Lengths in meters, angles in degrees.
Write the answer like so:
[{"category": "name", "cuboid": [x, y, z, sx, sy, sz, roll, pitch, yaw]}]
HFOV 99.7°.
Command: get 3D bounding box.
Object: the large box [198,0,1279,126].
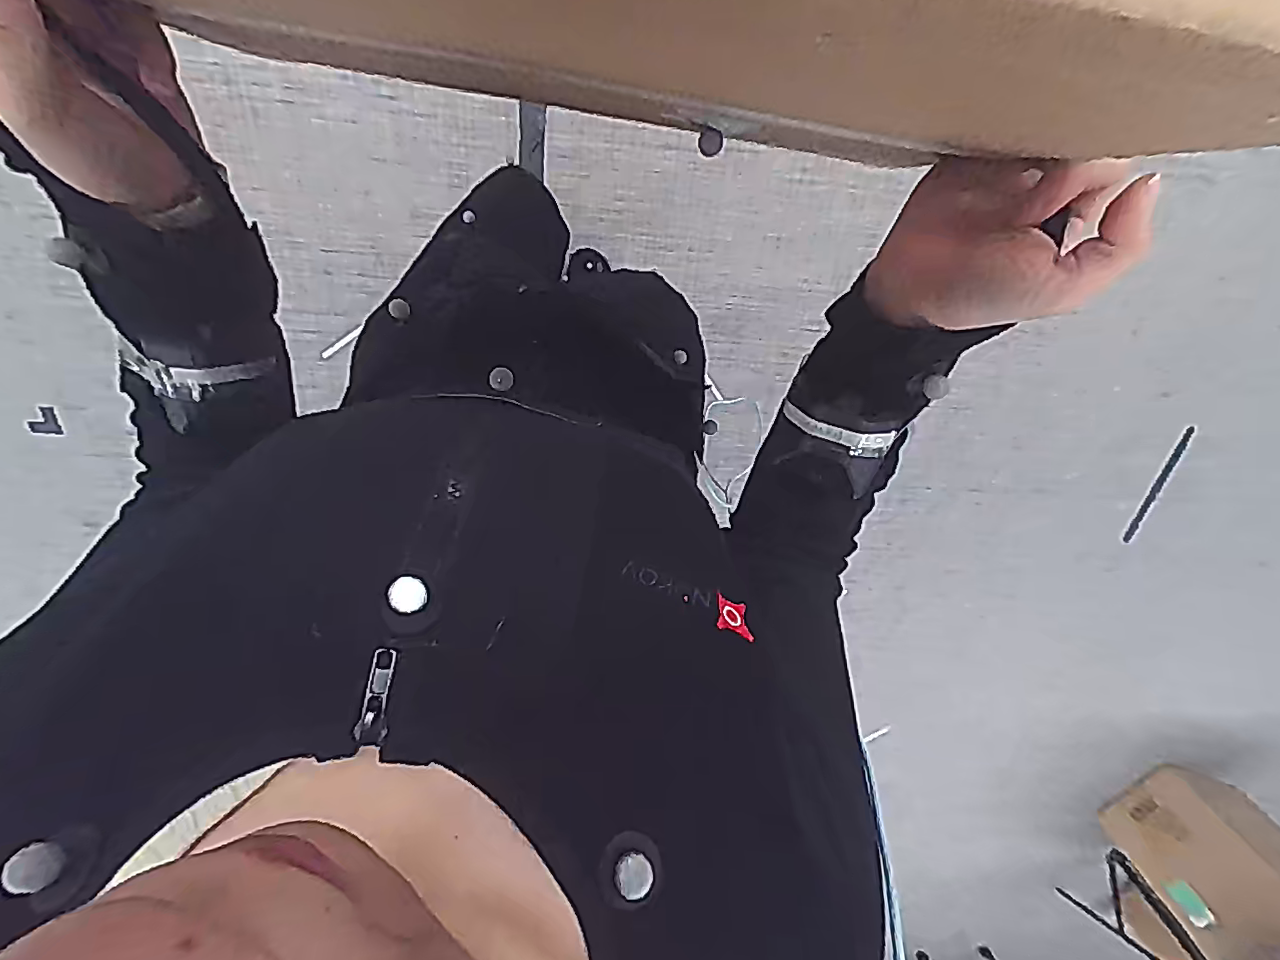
[{"category": "large box", "cuboid": [-0.005, -0.311, 0.133, 0.408, 0.320, 0.320, 6, 120, -5]}]
